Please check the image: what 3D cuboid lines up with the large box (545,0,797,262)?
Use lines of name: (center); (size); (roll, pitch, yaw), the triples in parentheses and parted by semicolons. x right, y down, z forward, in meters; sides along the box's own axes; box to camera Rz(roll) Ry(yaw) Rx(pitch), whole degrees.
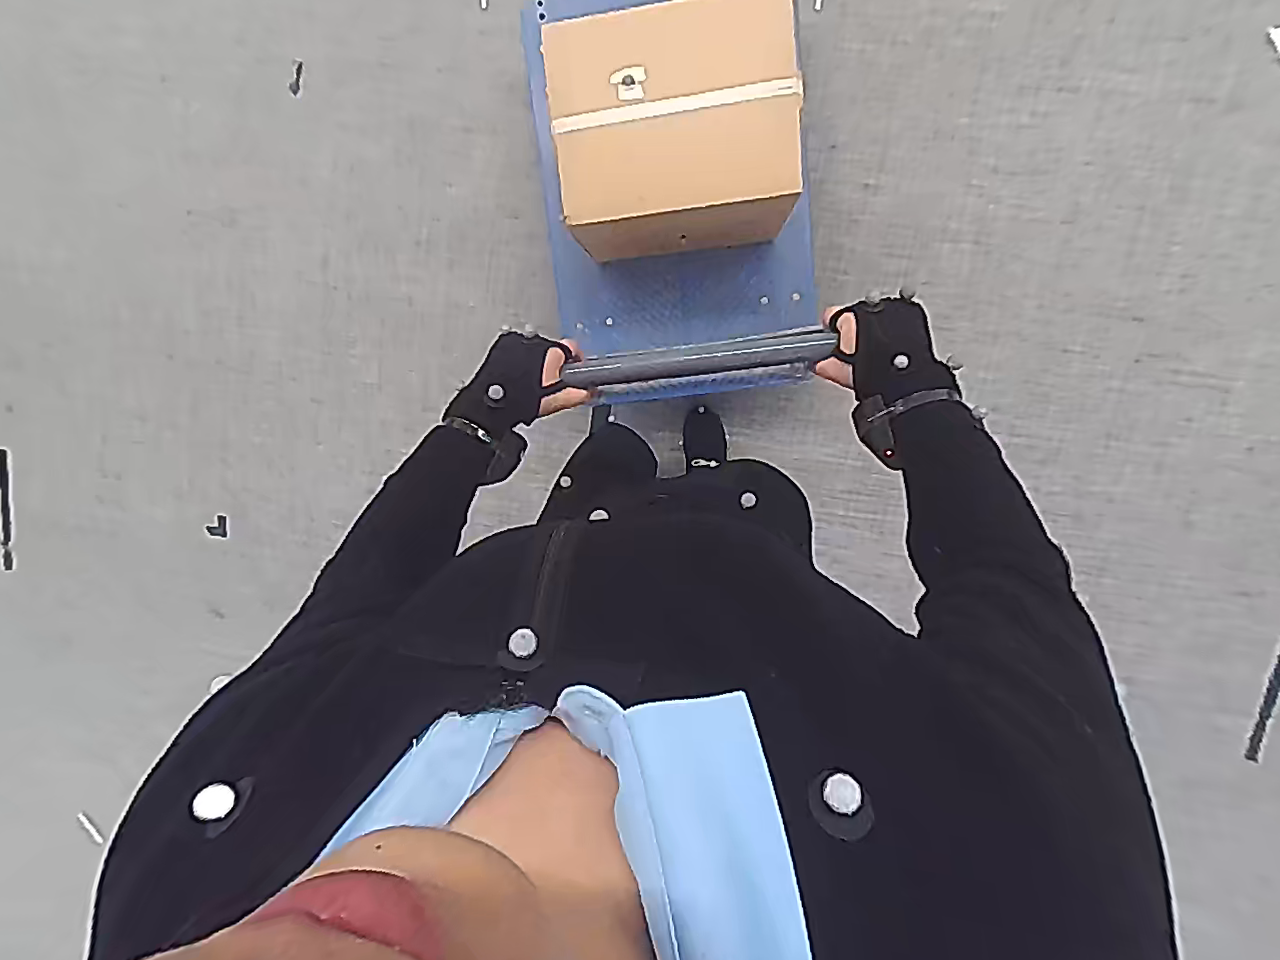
large box: (0.069, -0.642, 1.056); (0.408, 0.320, 0.320); (-5, 99, 7)
